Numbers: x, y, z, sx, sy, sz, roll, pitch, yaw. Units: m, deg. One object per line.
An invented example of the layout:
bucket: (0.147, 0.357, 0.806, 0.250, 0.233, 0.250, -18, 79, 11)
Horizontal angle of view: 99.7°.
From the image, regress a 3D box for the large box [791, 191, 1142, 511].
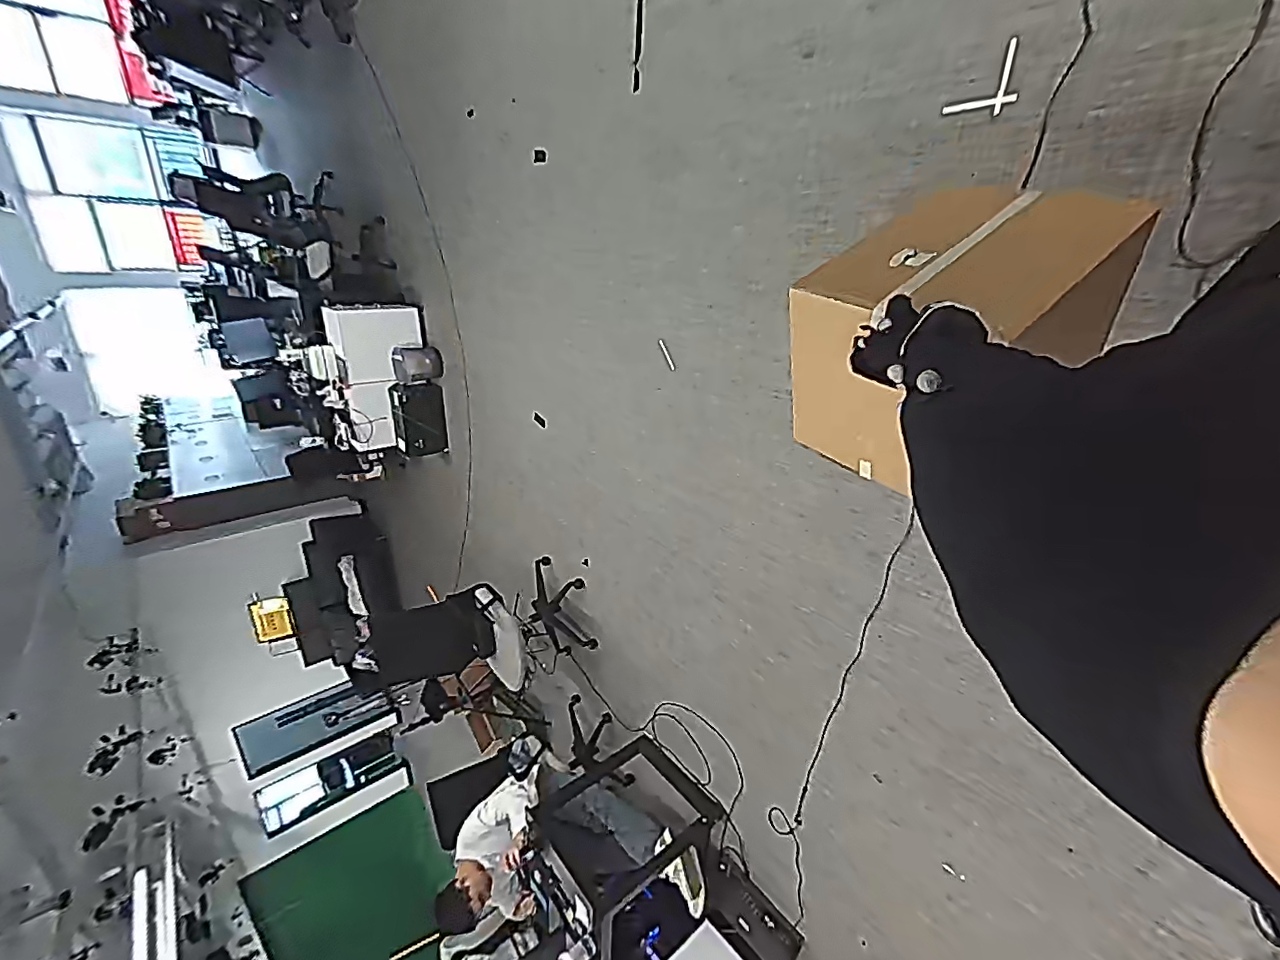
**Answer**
large box: (0.504, -0.229, 0.896, 0.320, 0.408, 0.320, 36, 154, 42)
